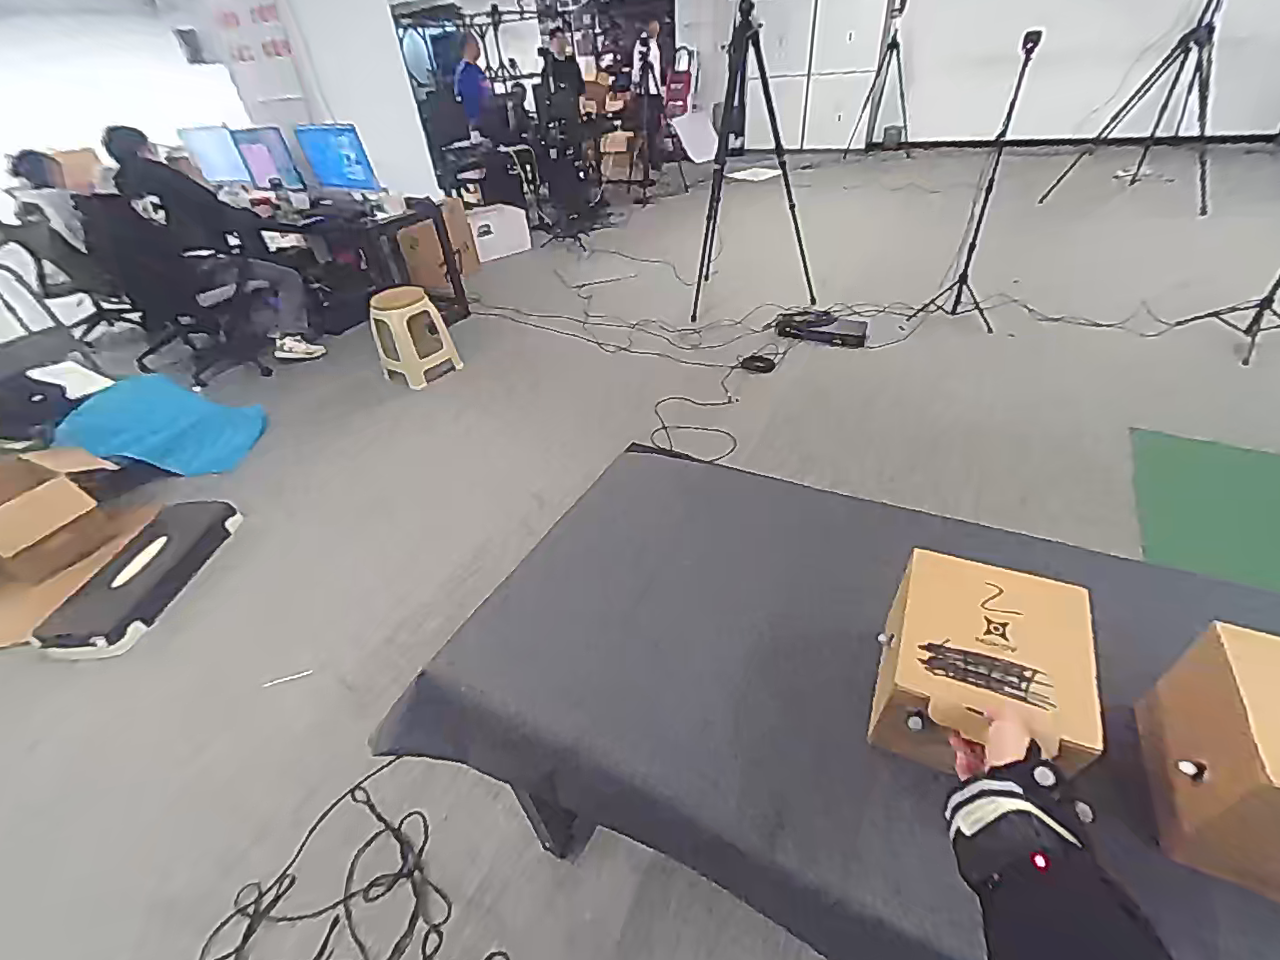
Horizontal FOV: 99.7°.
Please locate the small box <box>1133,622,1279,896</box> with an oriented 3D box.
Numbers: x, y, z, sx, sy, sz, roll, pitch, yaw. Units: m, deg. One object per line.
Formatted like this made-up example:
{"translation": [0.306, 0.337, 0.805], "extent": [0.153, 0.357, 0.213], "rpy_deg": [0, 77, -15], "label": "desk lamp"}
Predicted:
{"translation": [0.611, 0.273, 0.503], "extent": [0.168, 0.176, 0.179], "rpy_deg": [15, 41, 22], "label": "small box"}
